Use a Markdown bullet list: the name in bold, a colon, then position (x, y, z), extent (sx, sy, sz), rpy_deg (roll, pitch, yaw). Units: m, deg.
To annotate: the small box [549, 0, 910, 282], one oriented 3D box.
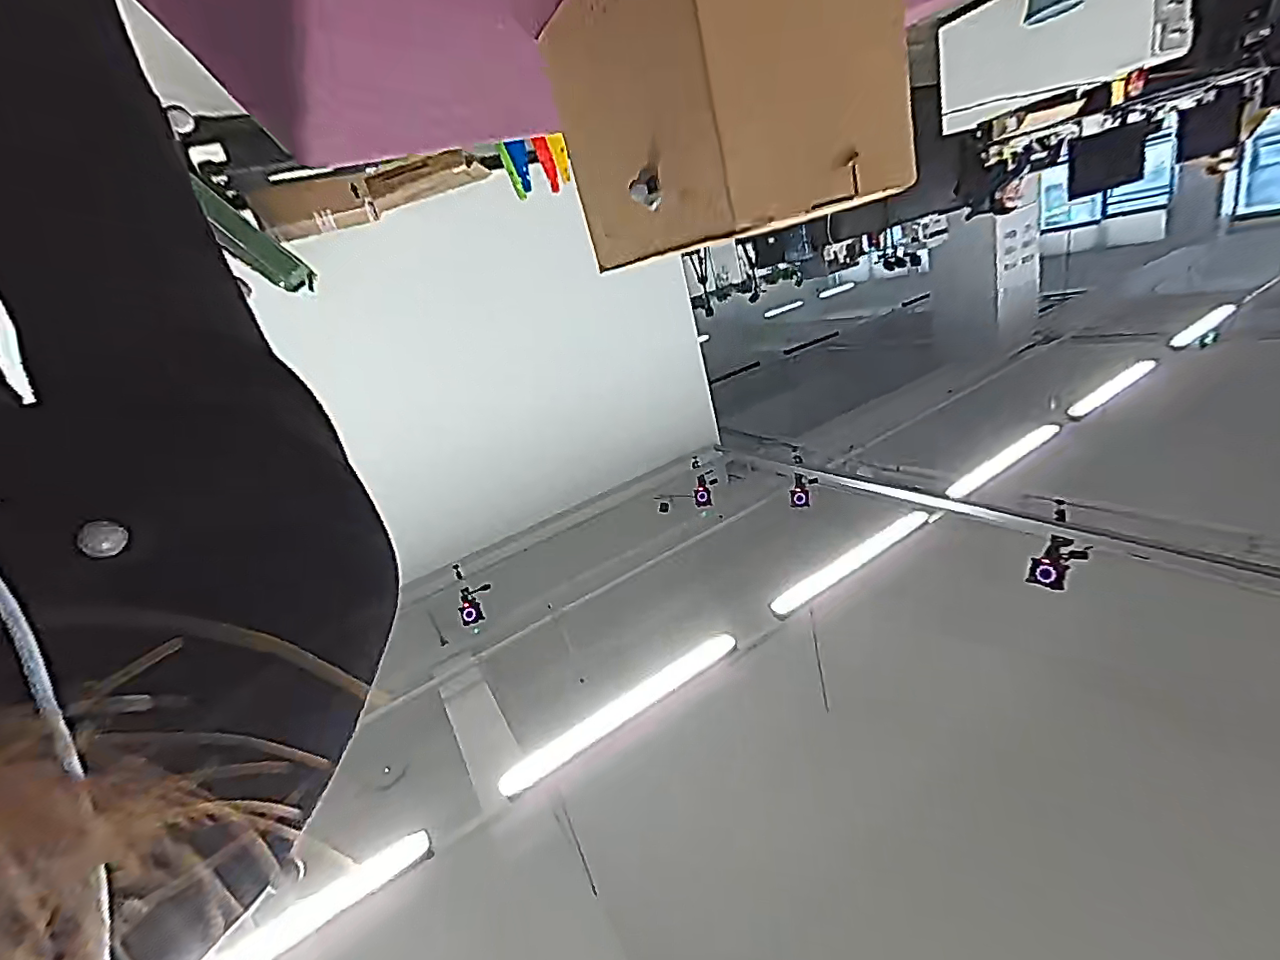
- **small box**: position (0.055, -0.256, 0.381), extent (0.168, 0.176, 0.179), rpy_deg (-26, -157, -24)
